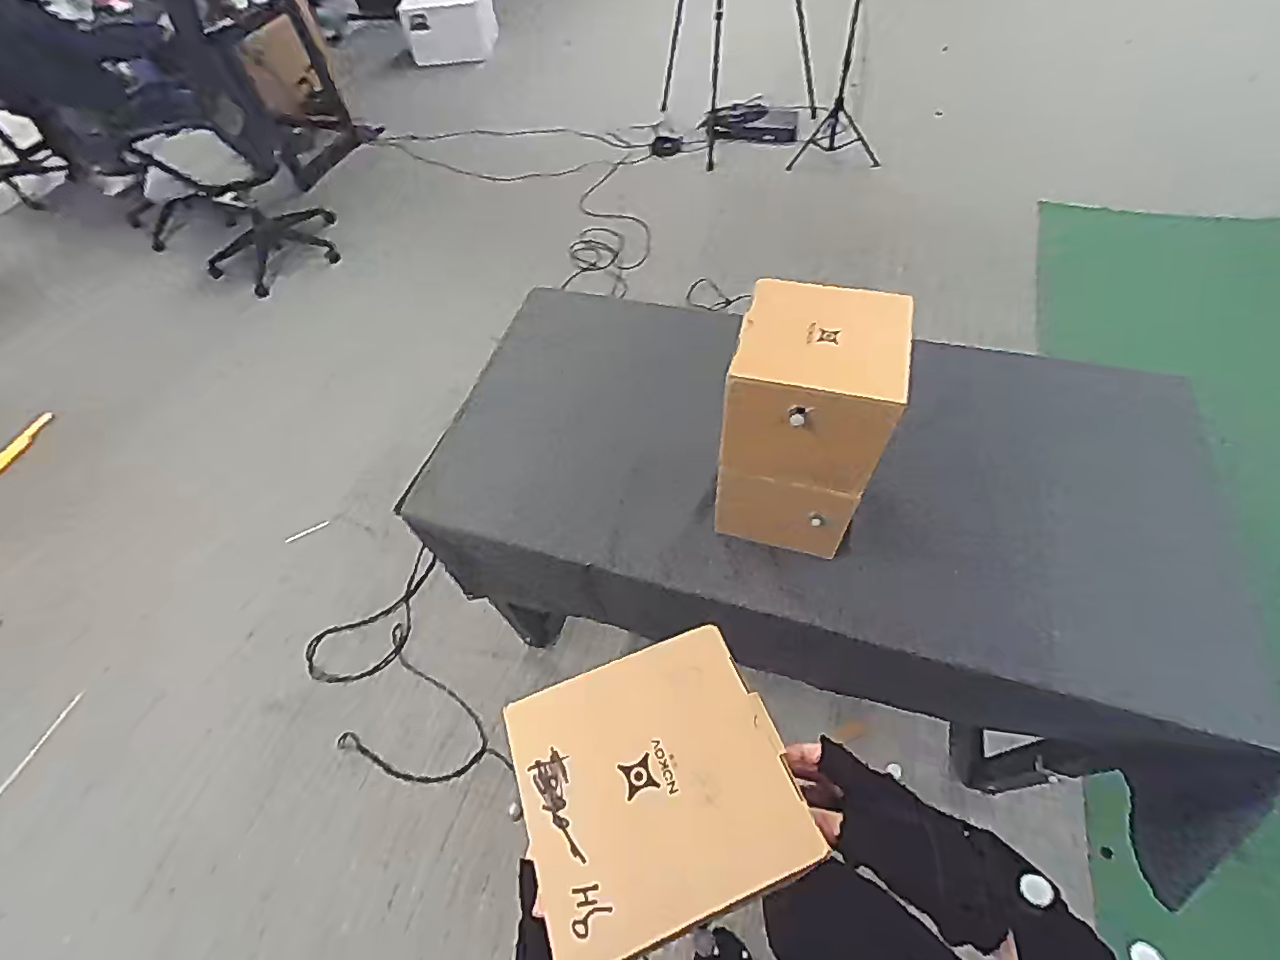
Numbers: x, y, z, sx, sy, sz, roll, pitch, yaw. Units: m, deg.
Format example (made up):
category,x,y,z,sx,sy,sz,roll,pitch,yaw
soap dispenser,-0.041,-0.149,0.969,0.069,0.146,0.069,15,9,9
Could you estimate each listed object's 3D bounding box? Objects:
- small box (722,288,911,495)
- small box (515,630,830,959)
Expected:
category,x,y,z,sx,sy,sz,roll,pitch,yaw
small box,0.202,-0.101,0.648,0.179,0.176,0.168,12,57,14
small box,0.016,0.252,0.428,0.179,0.176,0.168,-17,48,-10
